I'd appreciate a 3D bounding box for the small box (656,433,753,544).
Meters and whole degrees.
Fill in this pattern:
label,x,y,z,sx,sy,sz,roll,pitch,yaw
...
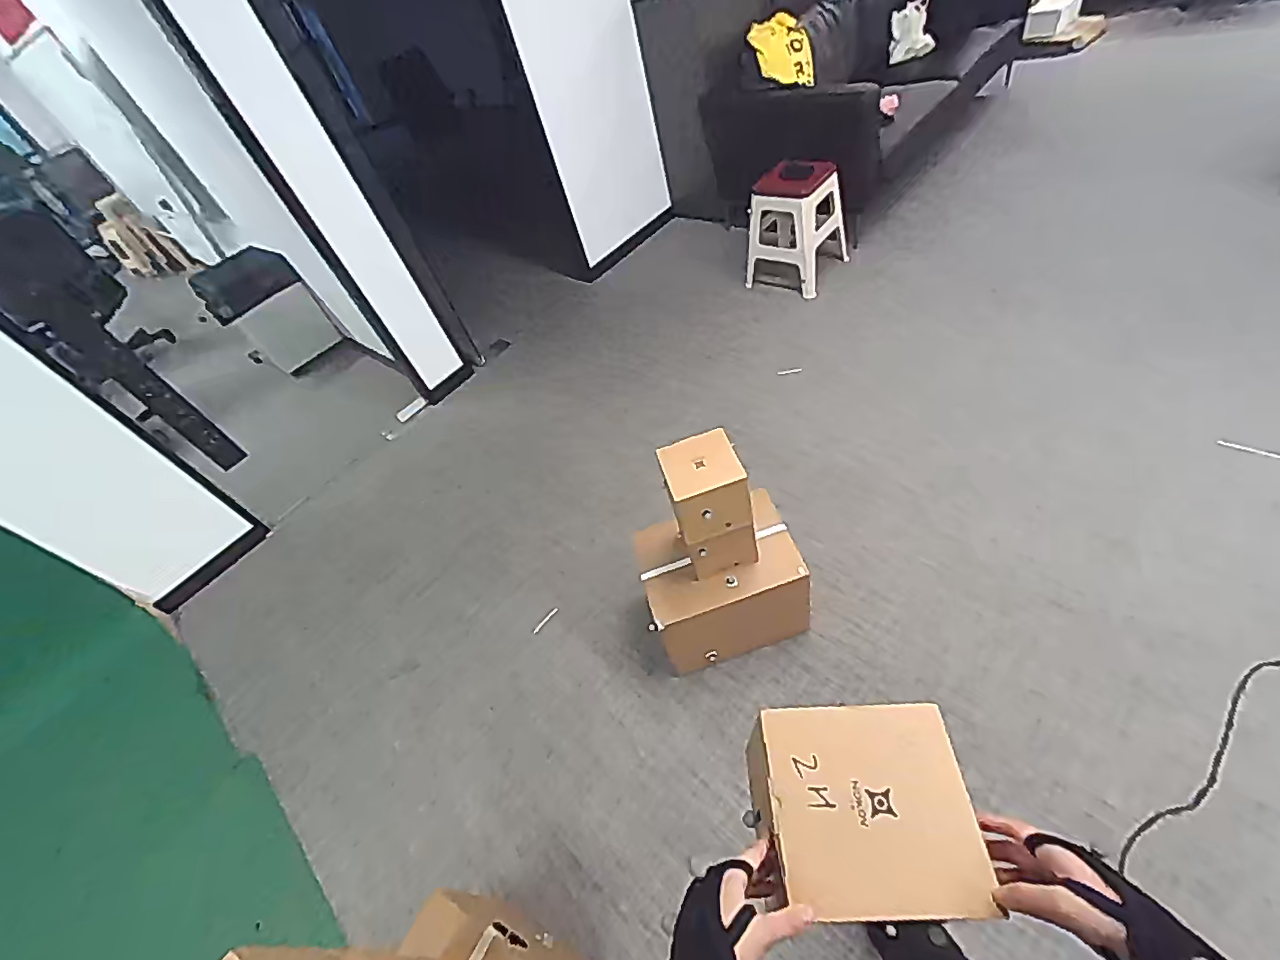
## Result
label,x,y,z,sx,sy,sz,roll,pitch,yaw
small box,0.151,0.028,1.251,0.168,0.176,0.179,-19,44,1

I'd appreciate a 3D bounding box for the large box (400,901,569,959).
label,x,y,z,sx,sy,sz,roll,pitch,yaw
large box,-0.323,1.094,1.003,0.320,0.320,0.408,12,55,29

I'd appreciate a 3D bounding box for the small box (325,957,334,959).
label,x,y,z,sx,sy,sz,roll,pitch,yaw
small box,-0.391,0.796,0.729,0.168,0.176,0.179,13,54,28

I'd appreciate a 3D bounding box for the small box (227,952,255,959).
label,x,y,z,sx,sy,sz,roll,pitch,yaw
small box,-0.434,0.689,0.612,0.168,0.176,0.179,13,53,29

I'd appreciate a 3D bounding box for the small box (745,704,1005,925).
label,x,y,z,sx,sy,sz,roll,pitch,yaw
small box,0.207,0.334,0.538,0.179,0.176,0.168,-4,50,3
